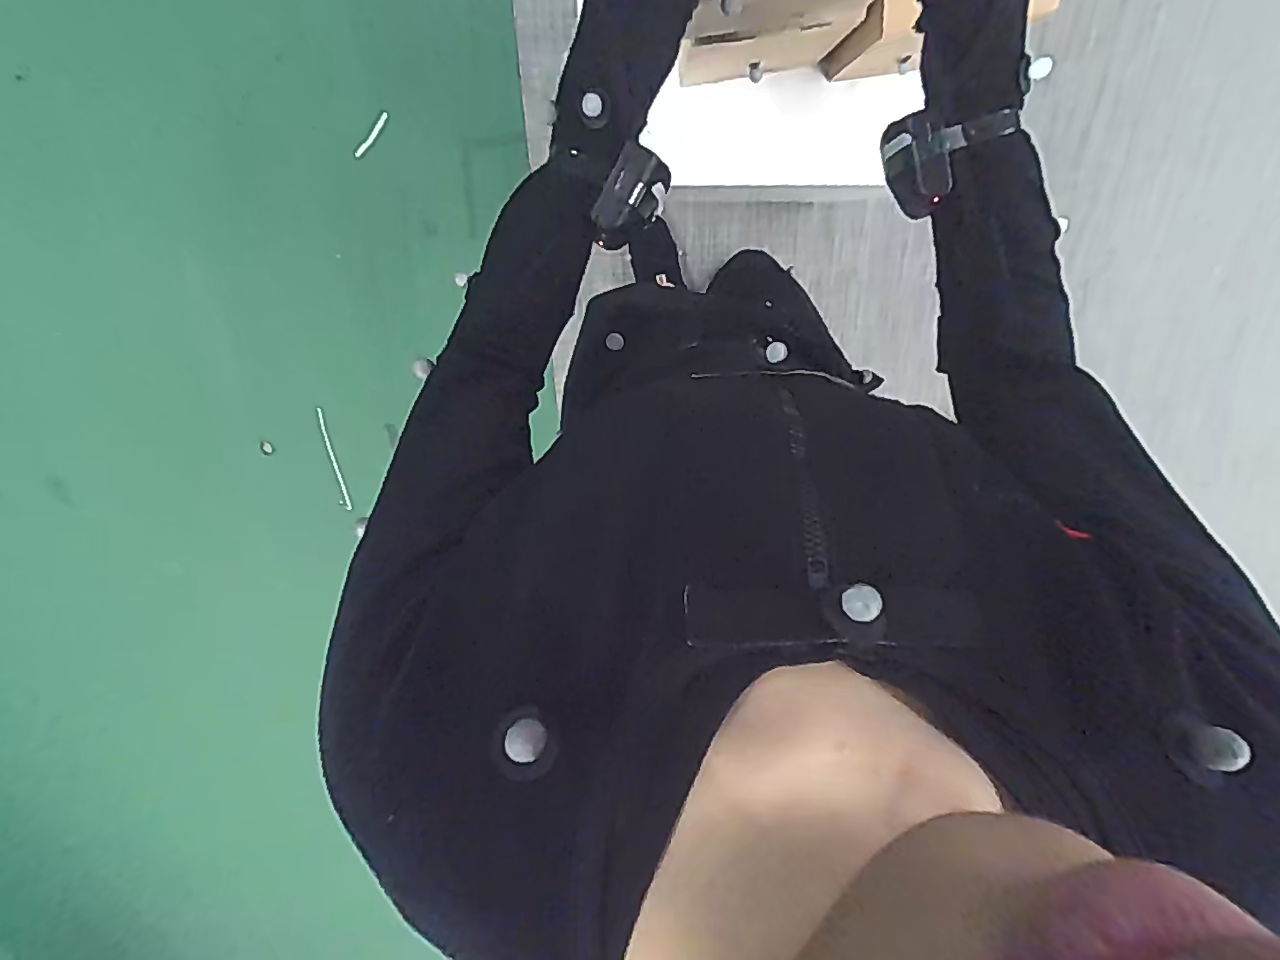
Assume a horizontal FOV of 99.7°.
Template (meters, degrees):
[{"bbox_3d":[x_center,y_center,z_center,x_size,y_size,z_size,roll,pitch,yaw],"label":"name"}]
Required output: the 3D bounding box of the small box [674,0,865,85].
[{"bbox_3d":[0.118,-0.534,0.546,0.168,0.176,0.179,-7,115,4],"label":"small box"}]
